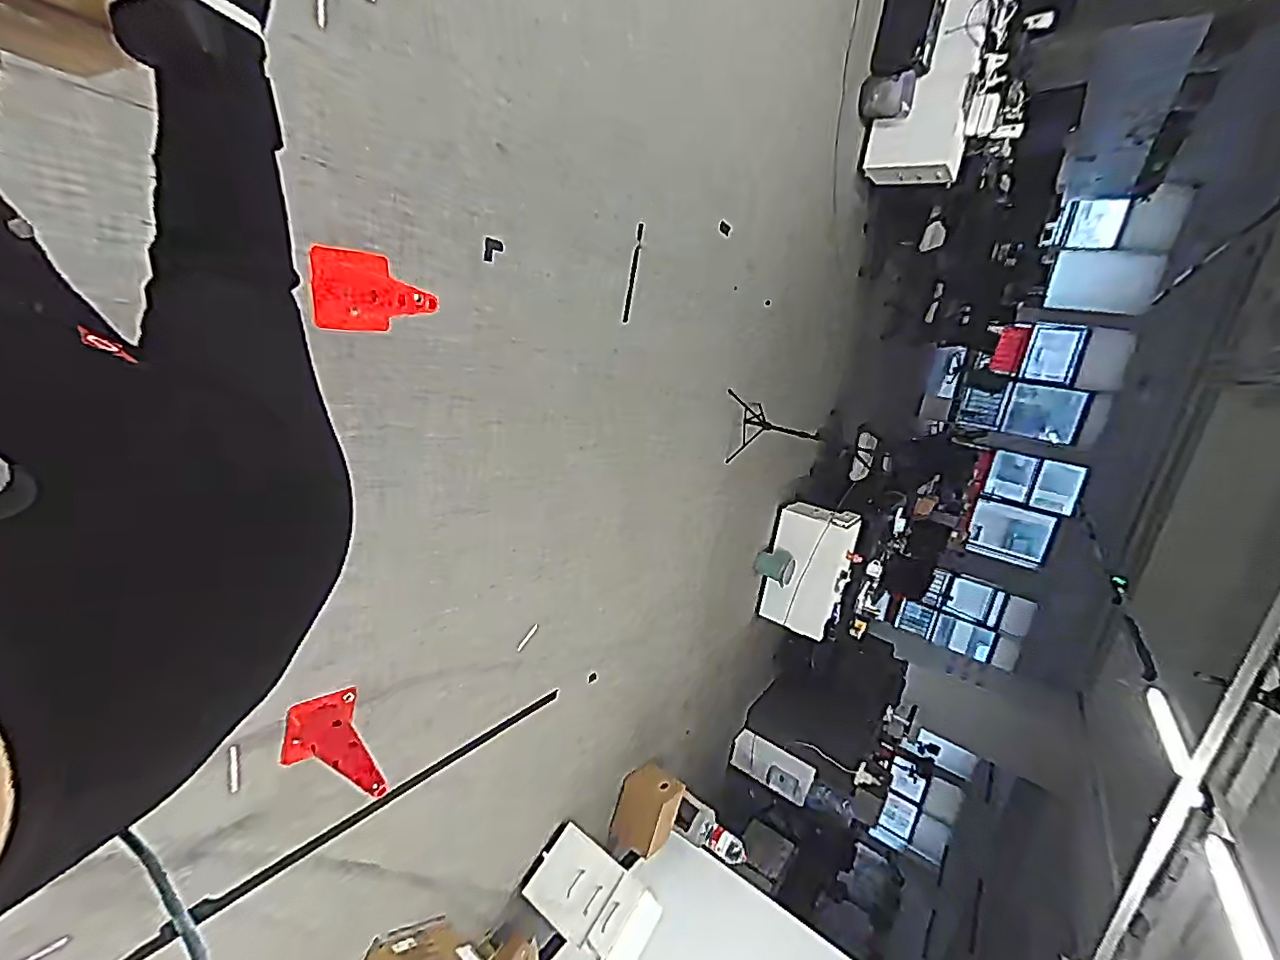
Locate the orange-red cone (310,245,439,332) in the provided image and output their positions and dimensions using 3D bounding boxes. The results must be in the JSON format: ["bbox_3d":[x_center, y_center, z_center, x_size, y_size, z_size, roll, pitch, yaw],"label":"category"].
[{"bbox_3d":[-0.607,-0.445,1.301,0.198,0.360,0.199,-15,117,-53],"label":"orange-red cone"}]

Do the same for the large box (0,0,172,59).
[{"bbox_3d":[-0.534,-0.484,0.259,0.408,0.320,0.320,-10,119,-53],"label":"large box"}]

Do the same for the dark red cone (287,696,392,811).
[{"bbox_3d":[-0.831,0.811,1.554,0.201,0.394,0.202,-1,106,-54],"label":"dark red cone"}]
